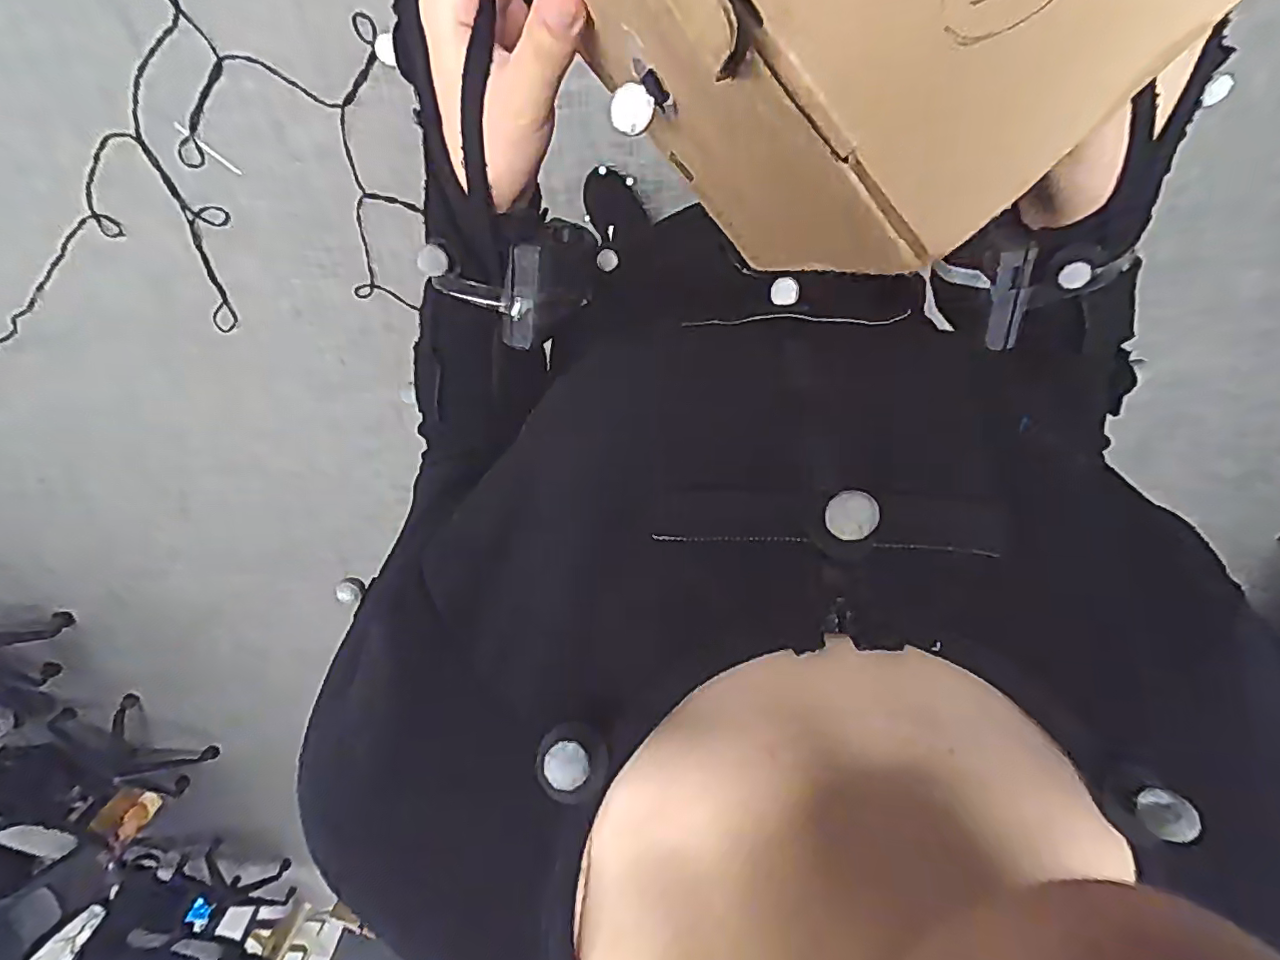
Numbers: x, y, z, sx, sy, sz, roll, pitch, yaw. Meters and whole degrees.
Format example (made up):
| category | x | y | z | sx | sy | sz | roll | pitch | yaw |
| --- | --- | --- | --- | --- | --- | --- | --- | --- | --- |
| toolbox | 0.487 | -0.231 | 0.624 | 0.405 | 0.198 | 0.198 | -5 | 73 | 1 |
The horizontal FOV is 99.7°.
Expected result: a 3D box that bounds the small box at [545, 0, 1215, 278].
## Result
| category | x | y | z | sx | sy | sz | roll | pitch | yaw |
| --- | --- | --- | --- | --- | --- | --- | --- | --- | --- |
| small box | 0.066 | -0.186 | 0.165 | 0.179 | 0.176 | 0.168 | -42 | 106 | 15 |
